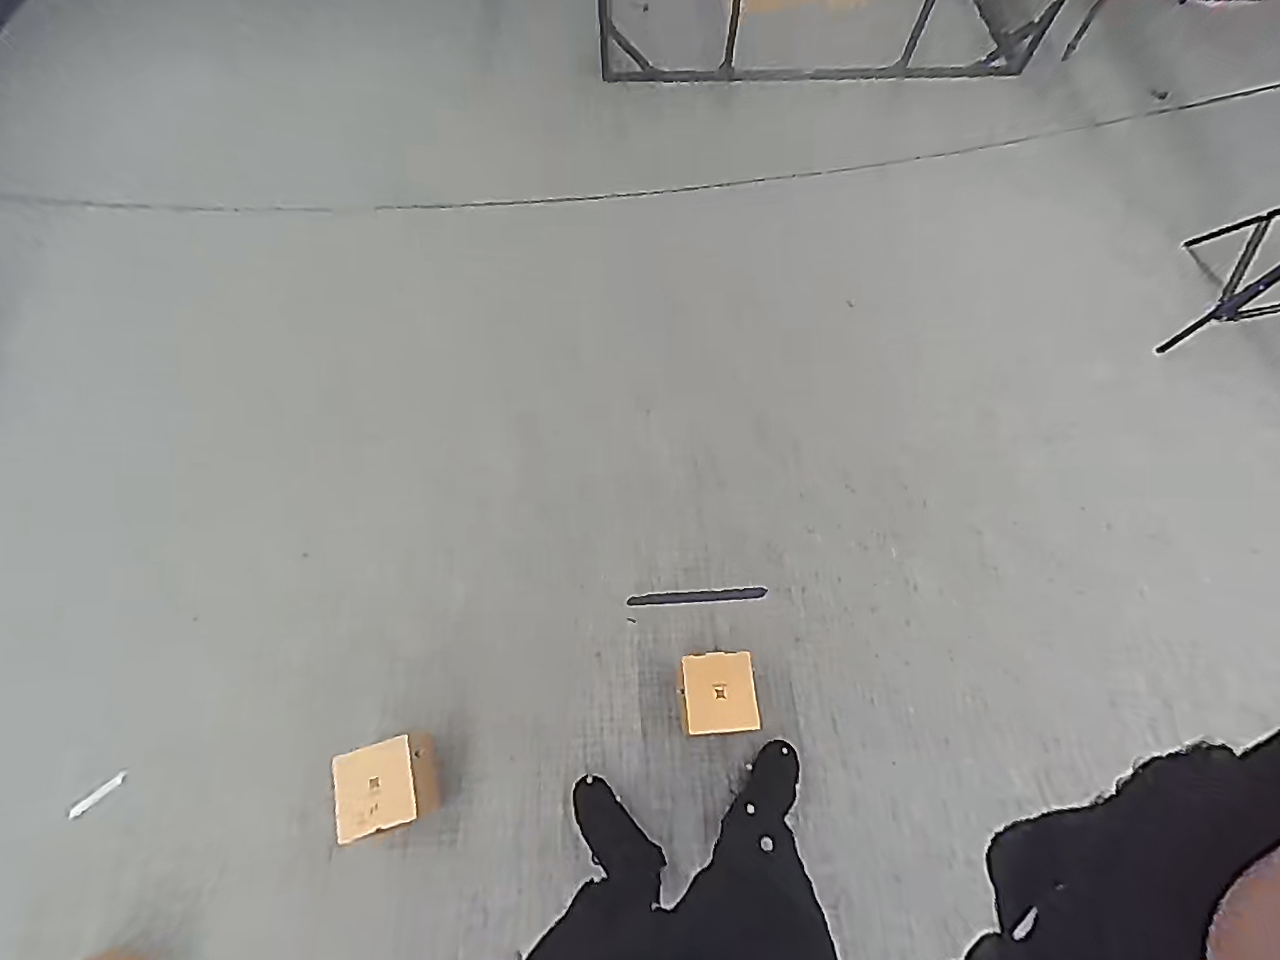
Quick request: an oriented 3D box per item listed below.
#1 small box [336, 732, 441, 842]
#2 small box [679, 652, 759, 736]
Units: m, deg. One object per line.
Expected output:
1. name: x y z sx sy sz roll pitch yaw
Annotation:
1. small box: -0.575 0.698 1.246 0.168 0.176 0.179 -15 66 -8
2. small box: 0.188 0.529 1.334 0.168 0.176 0.179 -4 64 -2
